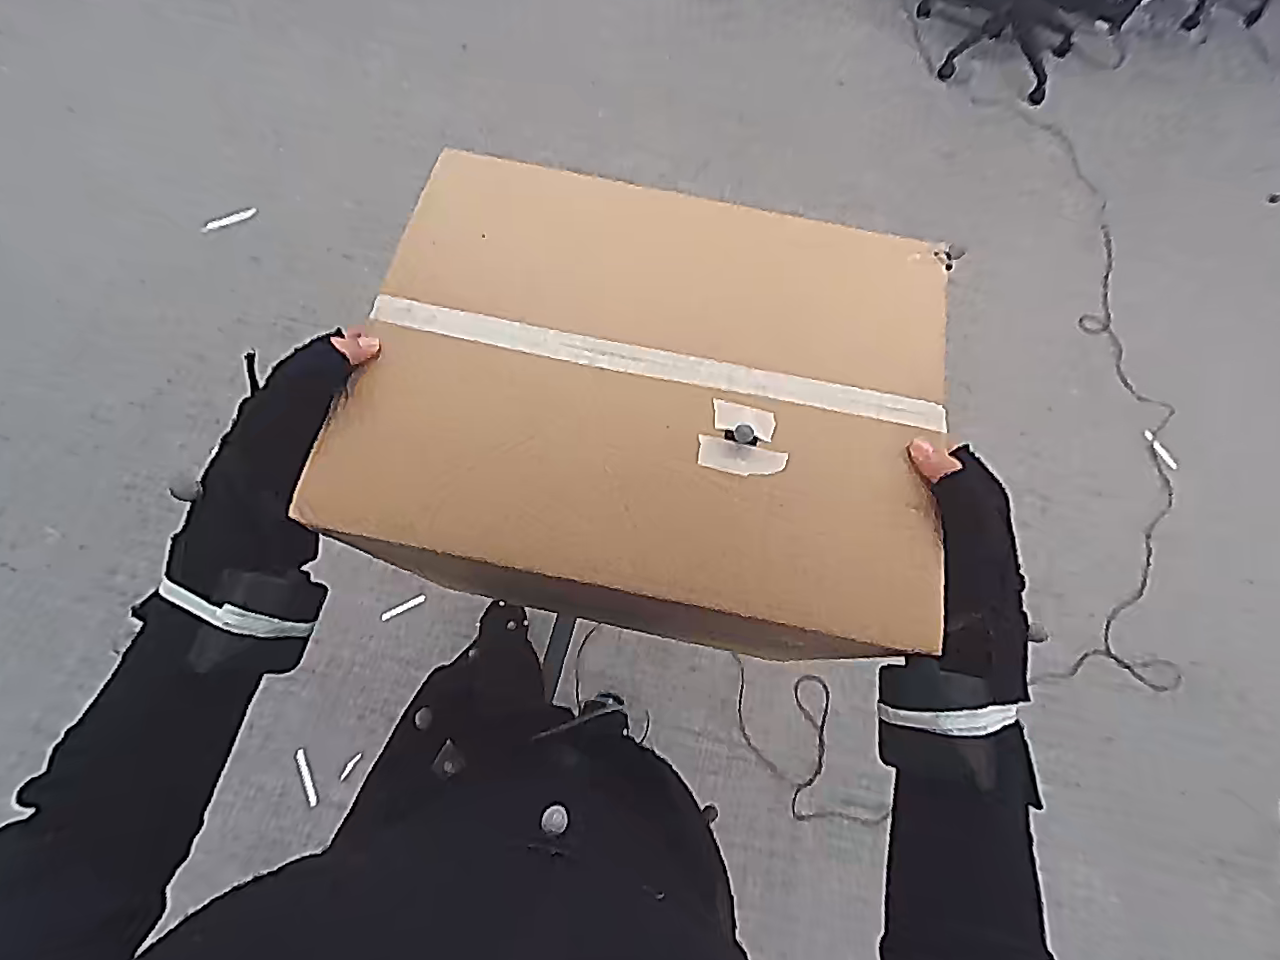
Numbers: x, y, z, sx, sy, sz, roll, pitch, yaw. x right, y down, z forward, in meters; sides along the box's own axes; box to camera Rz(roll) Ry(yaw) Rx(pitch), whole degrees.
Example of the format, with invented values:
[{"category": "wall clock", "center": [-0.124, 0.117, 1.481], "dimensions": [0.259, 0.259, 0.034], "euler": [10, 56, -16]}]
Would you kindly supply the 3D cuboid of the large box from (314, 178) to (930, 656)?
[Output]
[{"category": "large box", "center": [0.002, -0.023, 0.531], "dimensions": [0.408, 0.320, 0.320], "euler": [12, 72, 1]}]
